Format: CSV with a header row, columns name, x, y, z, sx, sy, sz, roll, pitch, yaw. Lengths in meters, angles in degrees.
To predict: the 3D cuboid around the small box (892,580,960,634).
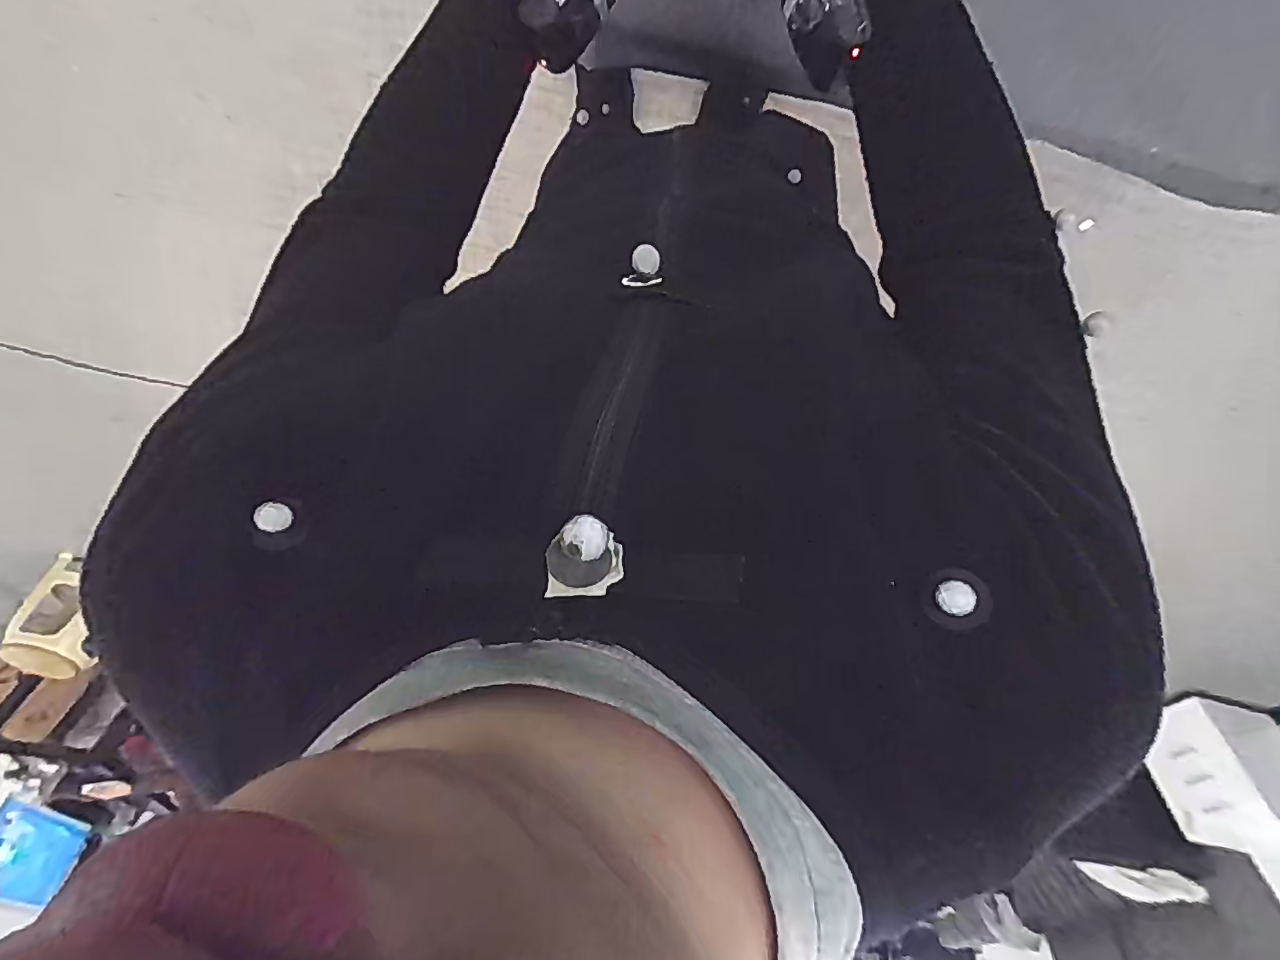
name,x,y,z,sx,sy,sz,roll,pitch,yaw
small box,1.201,0.548,2.290,0.168,0.176,0.179,11,133,-6
